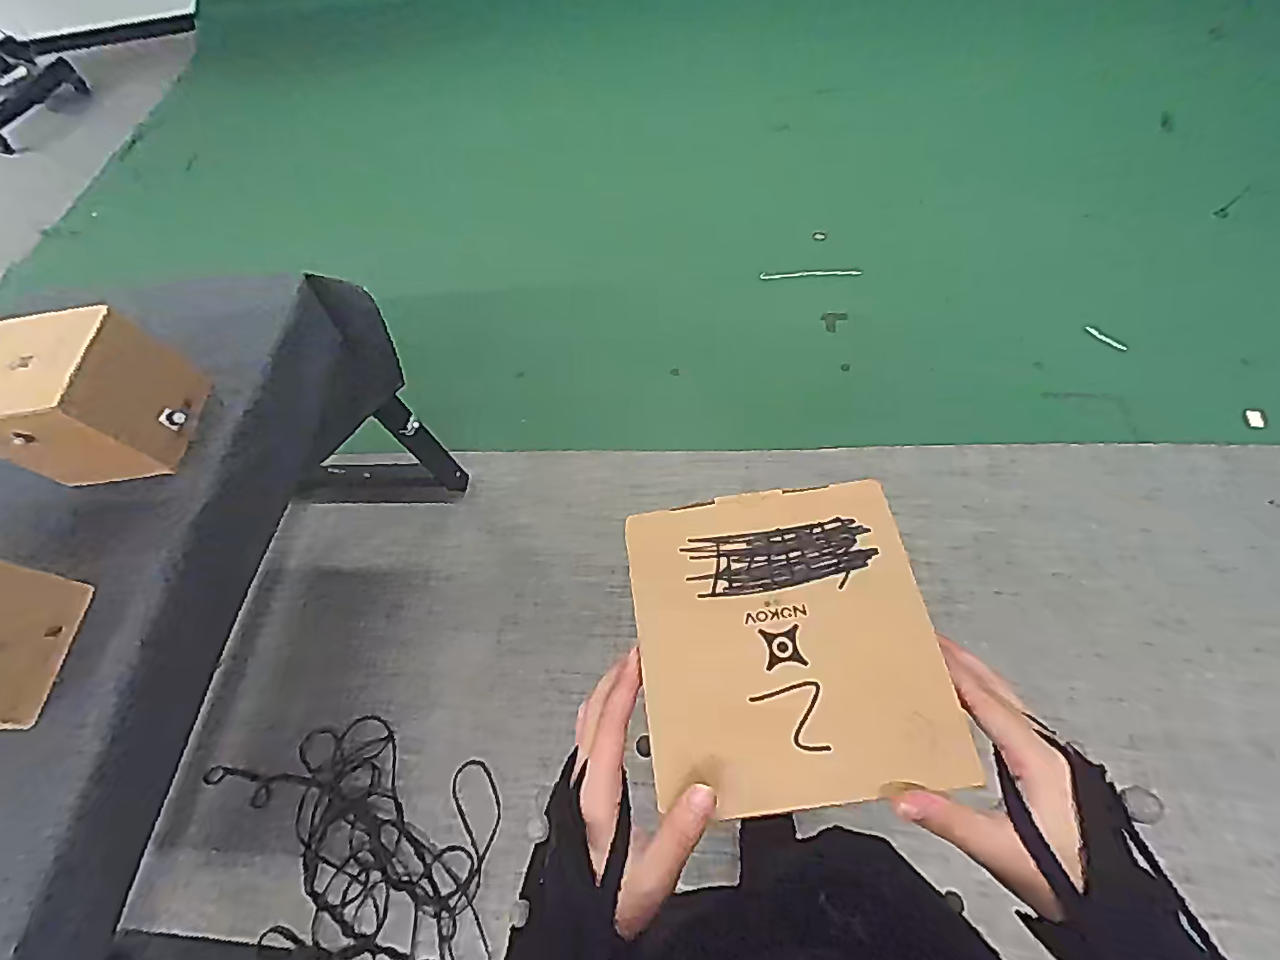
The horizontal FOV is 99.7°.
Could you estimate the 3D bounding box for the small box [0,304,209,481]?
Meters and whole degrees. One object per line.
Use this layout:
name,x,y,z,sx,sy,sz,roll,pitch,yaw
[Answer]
small box,-0.752,-0.109,0.734,0.179,0.176,0.168,-6,63,4

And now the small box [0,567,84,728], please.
small box,-0.788,0.180,0.588,0.179,0.176,0.168,-6,62,6
